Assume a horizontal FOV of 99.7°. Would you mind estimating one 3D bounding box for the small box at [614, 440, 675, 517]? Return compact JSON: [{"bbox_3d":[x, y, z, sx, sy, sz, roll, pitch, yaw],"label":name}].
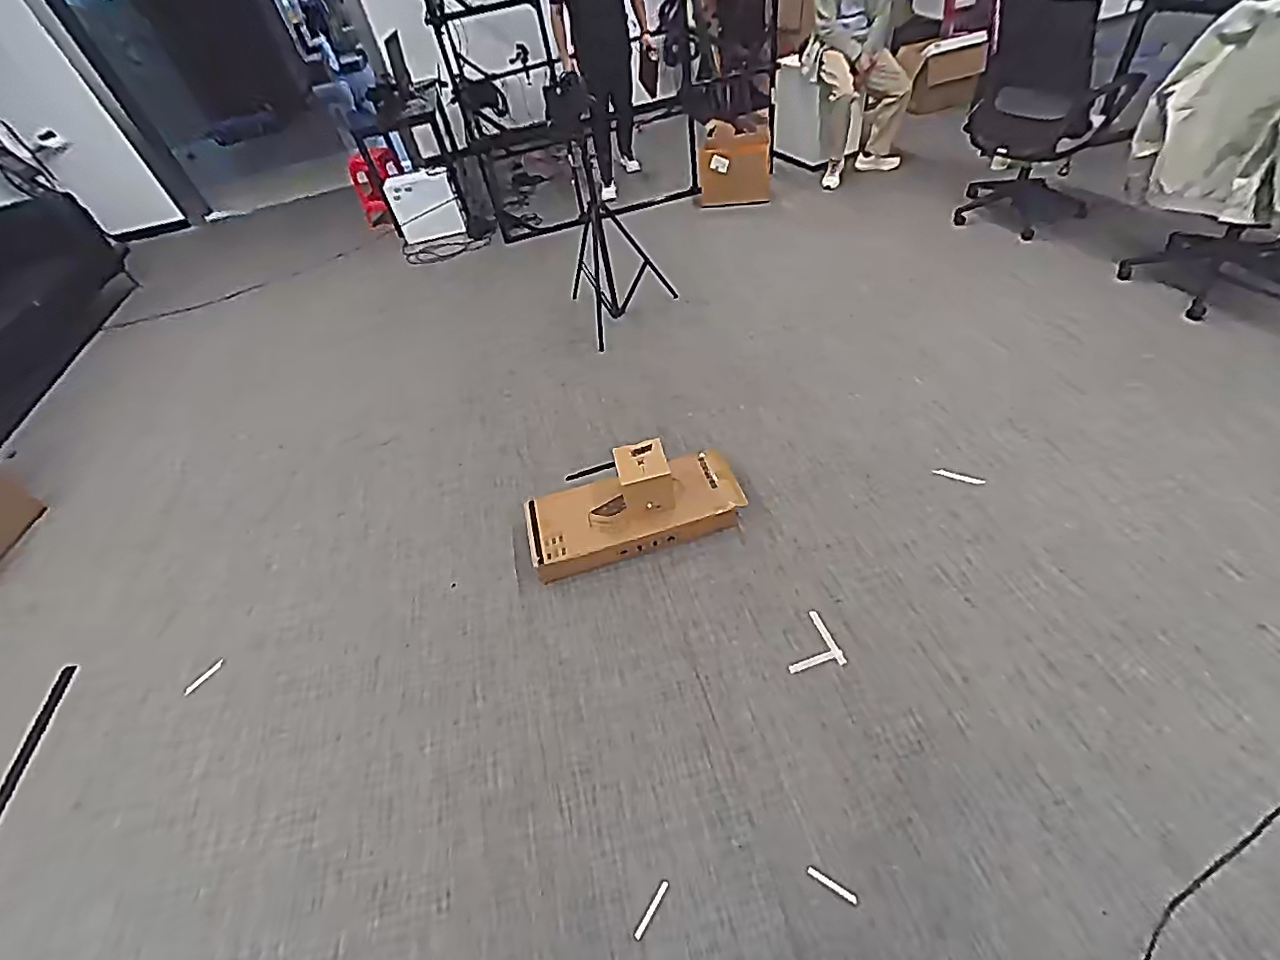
[{"bbox_3d":[0.015,-0.005,1.829,0.168,0.176,0.179,-14,47,-1],"label":"small box"}]
